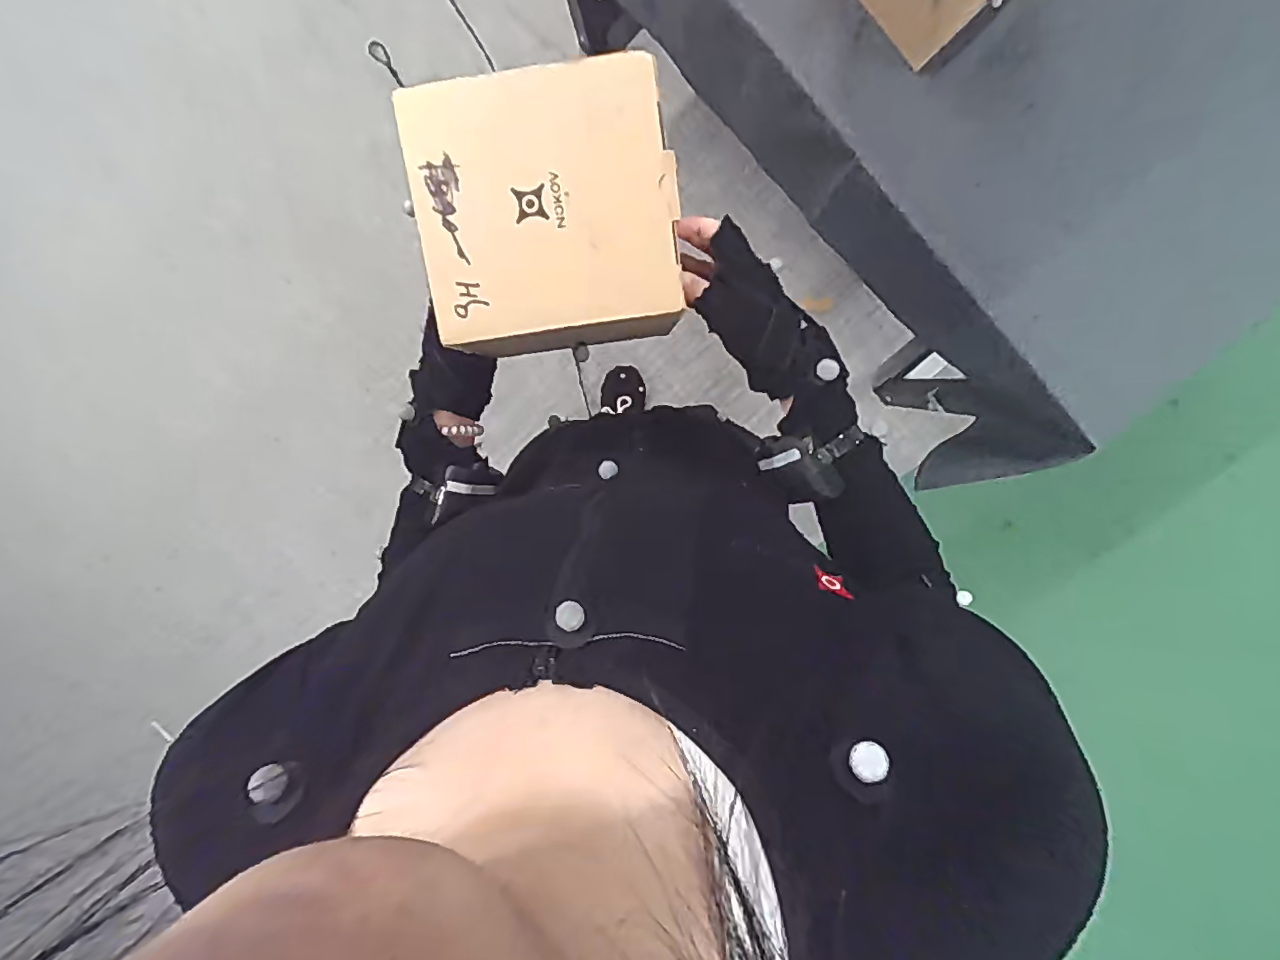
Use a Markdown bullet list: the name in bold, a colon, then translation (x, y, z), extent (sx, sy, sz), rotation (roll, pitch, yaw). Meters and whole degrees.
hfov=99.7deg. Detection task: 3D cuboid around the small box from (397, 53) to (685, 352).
- **small box**: translation (-0.067, -0.204, 0.446), extent (0.179, 0.176, 0.168), rotation (-8, 98, 0)
